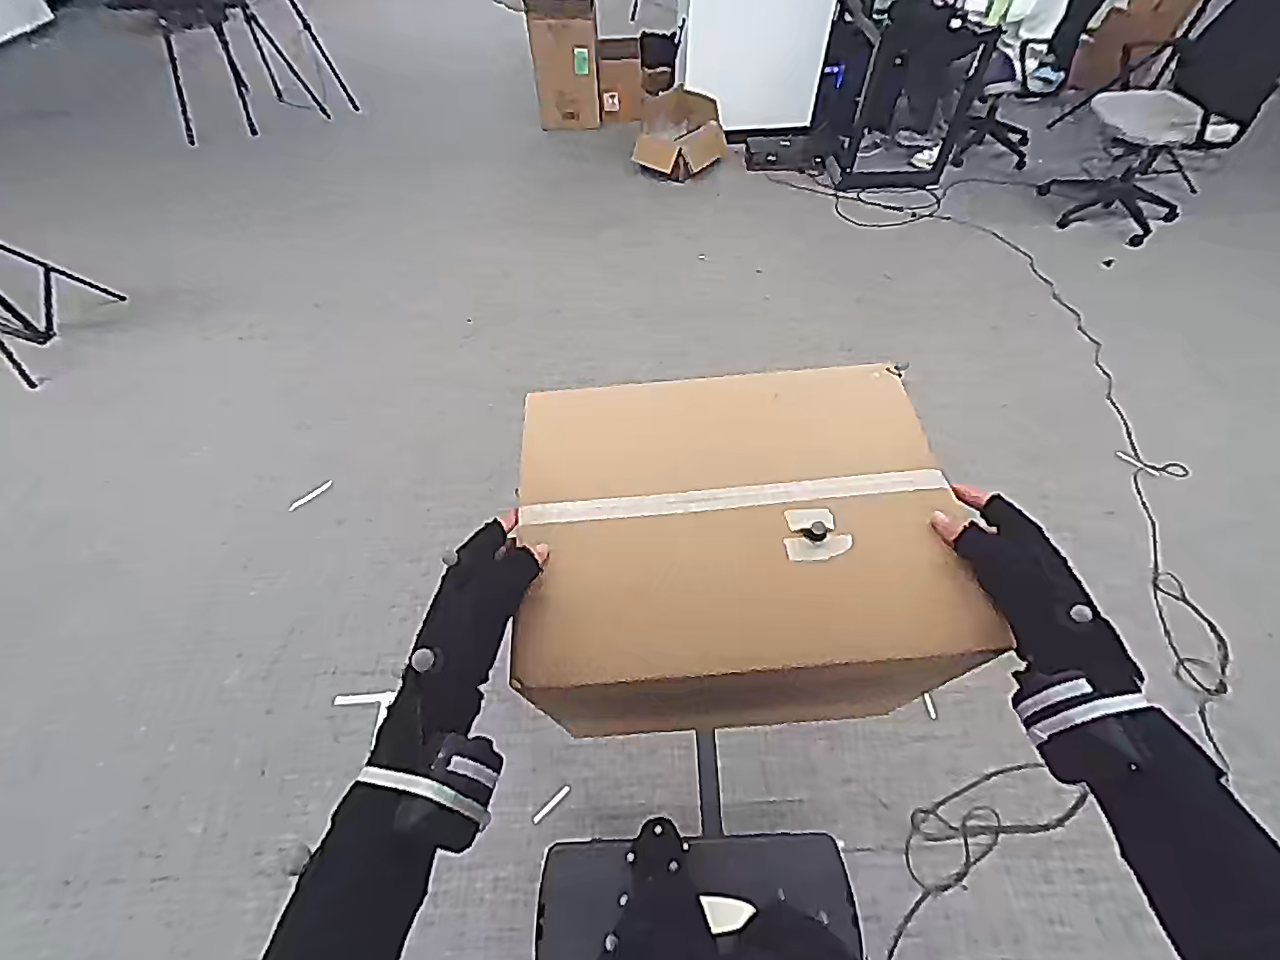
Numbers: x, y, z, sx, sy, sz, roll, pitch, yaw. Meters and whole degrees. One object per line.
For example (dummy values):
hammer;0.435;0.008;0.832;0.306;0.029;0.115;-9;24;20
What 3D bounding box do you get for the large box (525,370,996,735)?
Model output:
large box;0.093;0.101;0.650;0.408;0.320;0.320;-5;58;0
